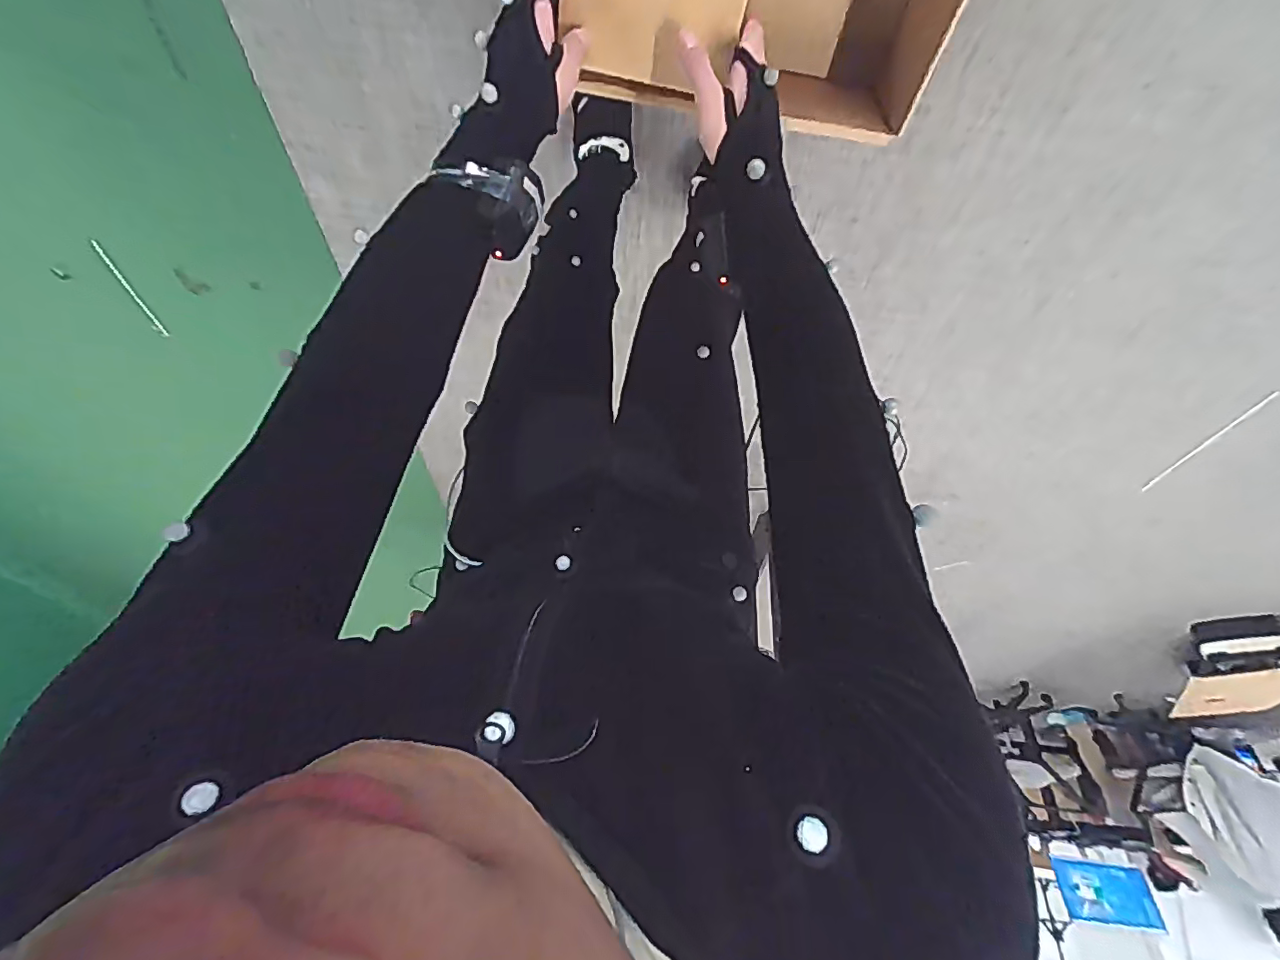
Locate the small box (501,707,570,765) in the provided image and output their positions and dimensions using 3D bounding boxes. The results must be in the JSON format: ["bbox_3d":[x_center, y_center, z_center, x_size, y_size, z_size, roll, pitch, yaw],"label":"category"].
[{"bbox_3d":[-0.384,0.951,2.012,0.168,0.176,0.179,-18,138,29],"label":"small box"}]
